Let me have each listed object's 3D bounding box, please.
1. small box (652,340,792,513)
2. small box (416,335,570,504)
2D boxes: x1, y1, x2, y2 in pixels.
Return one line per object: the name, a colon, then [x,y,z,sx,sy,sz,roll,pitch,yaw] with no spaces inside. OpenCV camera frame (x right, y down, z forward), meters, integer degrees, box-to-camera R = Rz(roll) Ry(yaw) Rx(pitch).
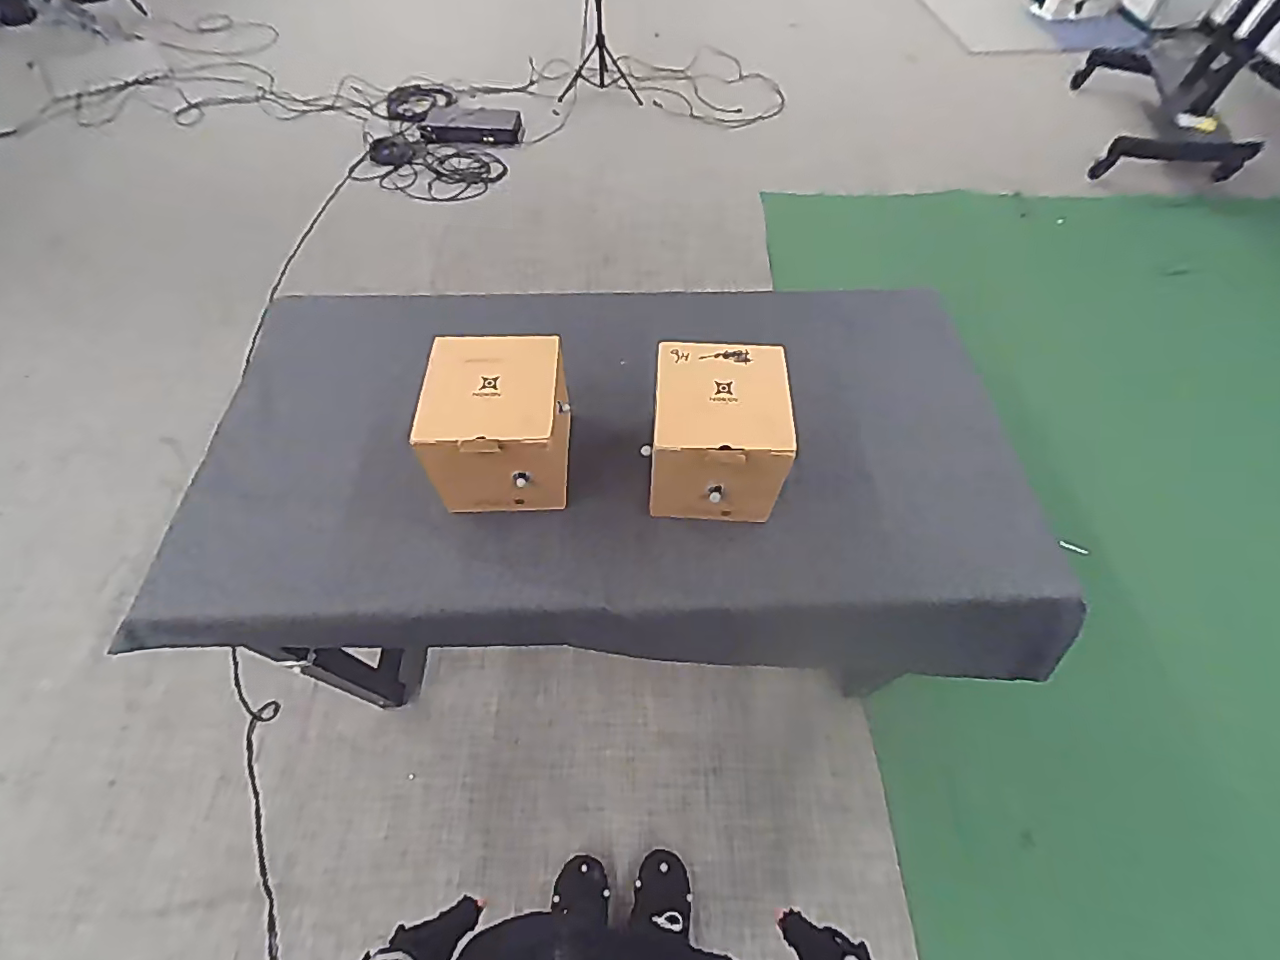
small box: [0.102,-0.067,0.742,0.168,0.176,0.179,3,58,1]
small box: [-0.186,-0.077,0.748,0.168,0.176,0.179,-1,57,-3]
